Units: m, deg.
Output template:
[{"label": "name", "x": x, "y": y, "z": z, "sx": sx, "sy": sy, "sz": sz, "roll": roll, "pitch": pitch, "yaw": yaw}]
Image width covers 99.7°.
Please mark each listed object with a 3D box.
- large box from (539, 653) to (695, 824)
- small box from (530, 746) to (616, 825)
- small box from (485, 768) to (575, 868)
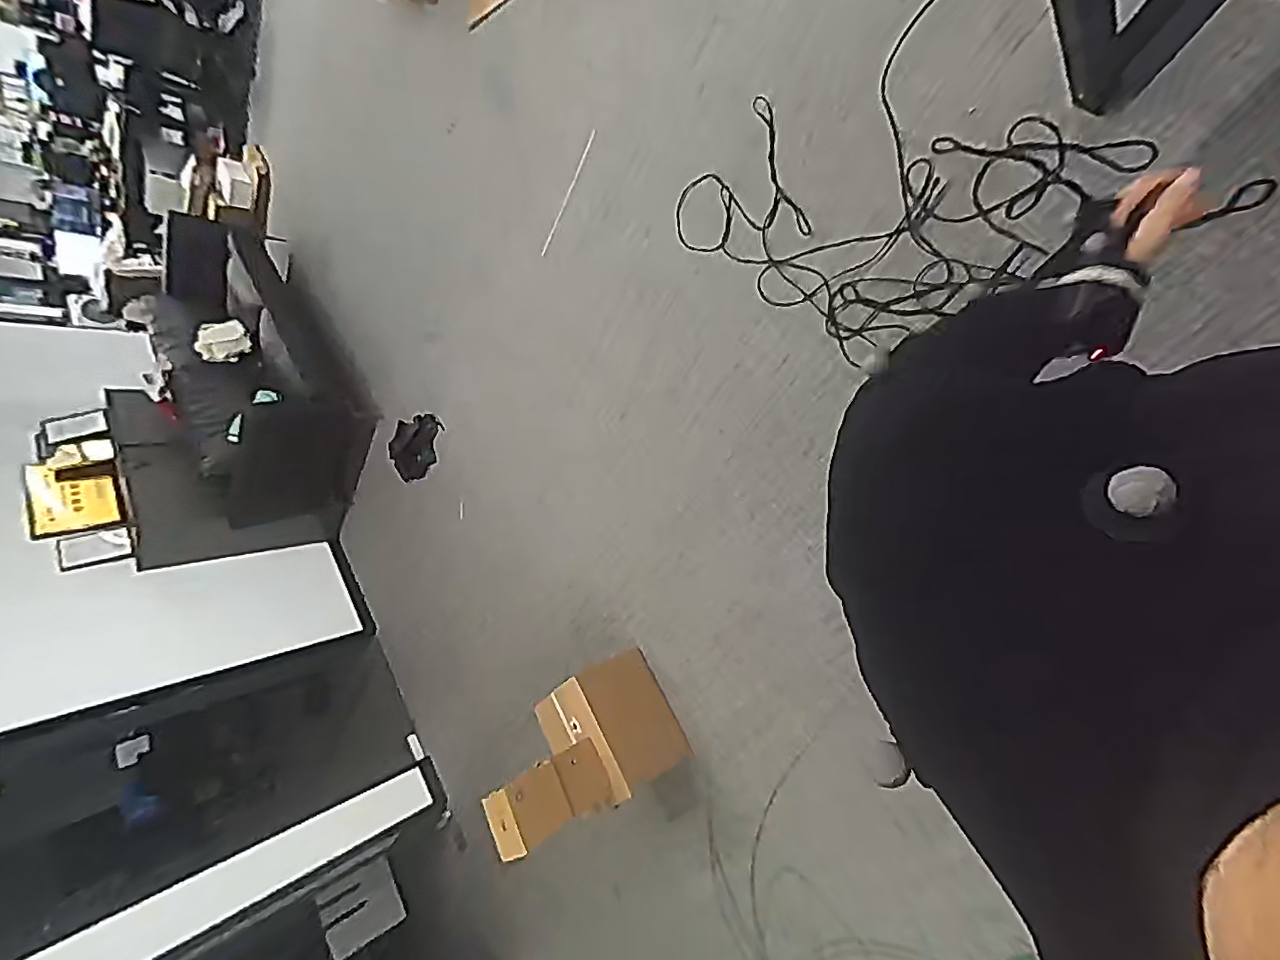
[{"label": "large box", "x": -0.084, "y": 0.889, "z": 1.889, "sx": 0.320, "sy": 0.320, "sz": 0.408, "roll": -47, "pitch": 63, "yaw": 34}, {"label": "small box", "x": -0.209, "y": 0.955, "z": 1.680, "sx": 0.168, "sy": 0.176, "sz": 0.179, "roll": -48, "pitch": 64, "yaw": 36}, {"label": "small box", "x": -0.314, "y": 0.969, "z": 1.556, "sx": 0.168, "sy": 0.176, "sz": 0.179, "roll": -46, "pitch": 63, "yaw": 37}]
